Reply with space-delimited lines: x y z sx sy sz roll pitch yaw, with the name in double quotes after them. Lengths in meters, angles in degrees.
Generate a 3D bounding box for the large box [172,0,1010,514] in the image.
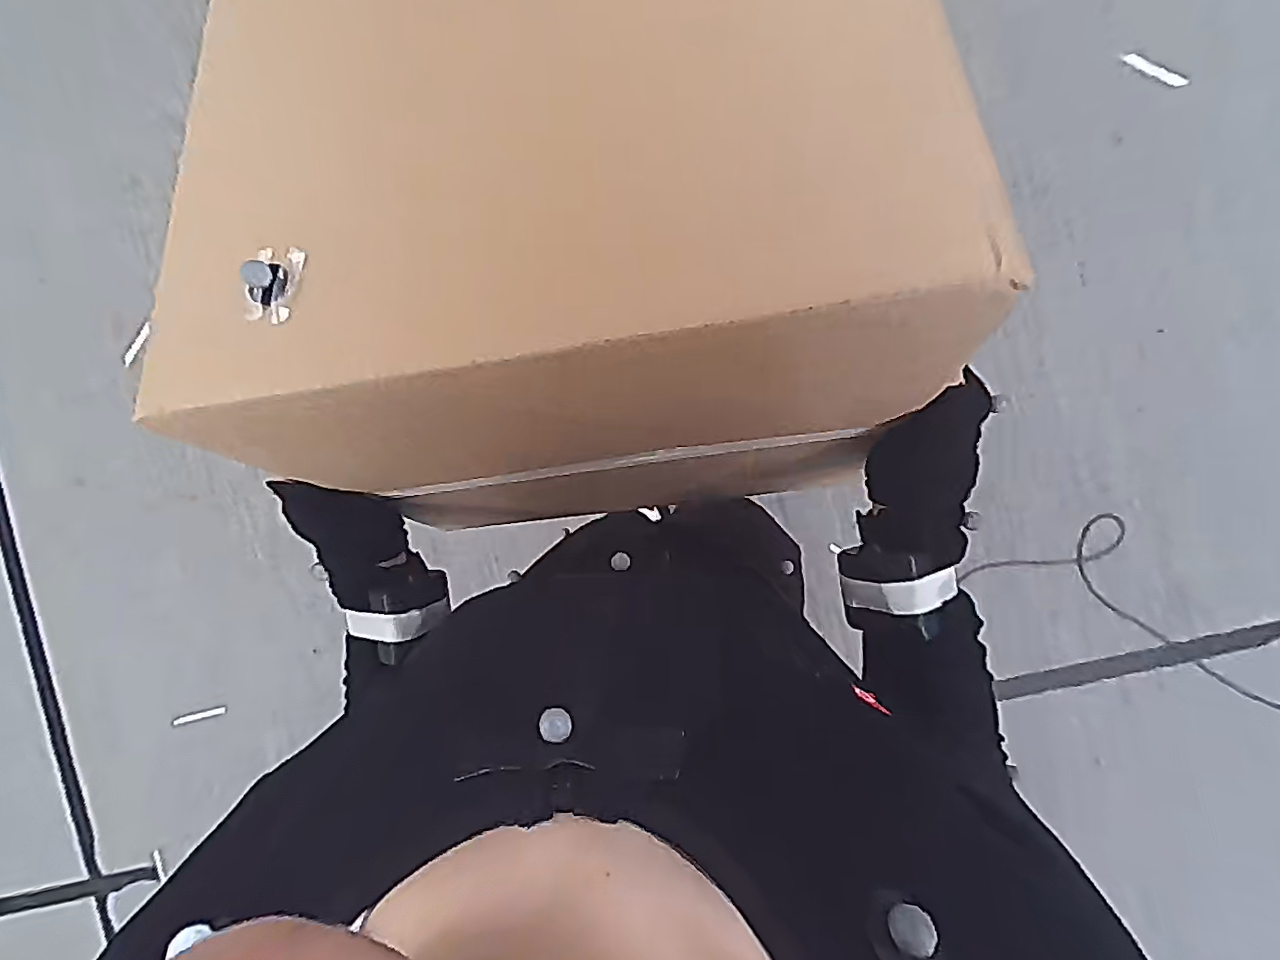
-0.034 -0.174 0.427 0.408 0.320 0.320 -7 75 7 "large box"
